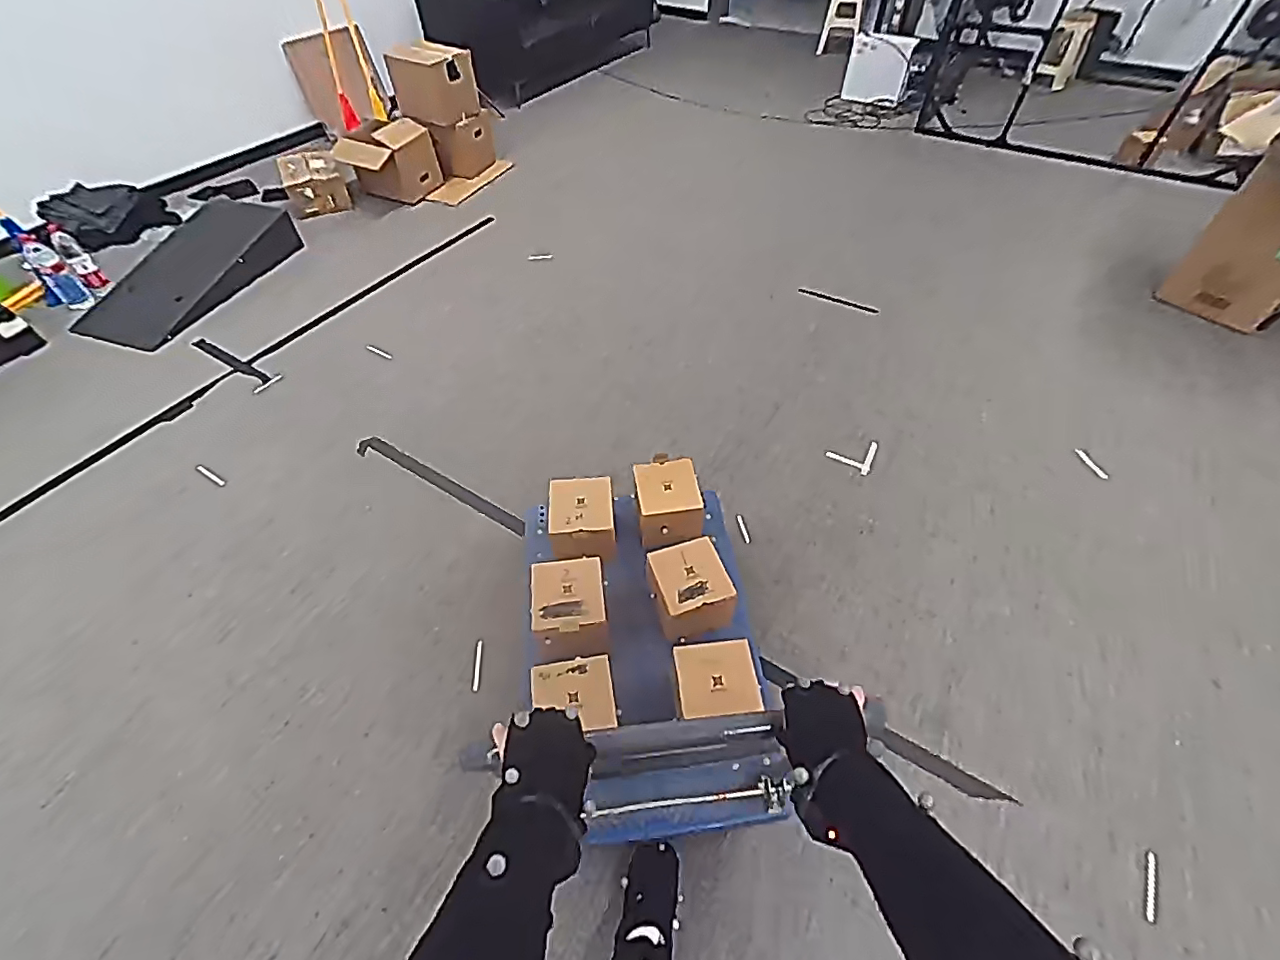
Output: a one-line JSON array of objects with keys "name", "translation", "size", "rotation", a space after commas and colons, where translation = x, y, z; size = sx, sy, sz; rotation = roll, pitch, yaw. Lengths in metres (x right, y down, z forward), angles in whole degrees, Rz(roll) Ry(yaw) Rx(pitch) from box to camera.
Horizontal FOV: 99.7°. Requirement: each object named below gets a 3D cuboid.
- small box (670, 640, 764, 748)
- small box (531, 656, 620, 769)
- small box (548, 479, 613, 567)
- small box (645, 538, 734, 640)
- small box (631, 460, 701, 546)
[{"name": "small box", "translation": [0.160, 0.473, 1.181], "size": [0.168, 0.176, 0.179], "rotation": [-4, 50, -4]}, {"name": "small box", "translation": [-0.136, 0.501, 1.153], "size": [0.168, 0.176, 0.179], "rotation": [-7, 51, -7]}, {"name": "small box", "translation": [-0.159, 0.118, 1.473], "size": [0.168, 0.176, 0.179], "rotation": [-3, 51, -3]}, {"name": "small box", "translation": [0.117, 0.277, 1.343], "size": [0.168, 0.176, 0.179], "rotation": [-14, 51, -12]}, {"name": "small box", "translation": [0.068, 0.072, 1.516], "size": [0.168, 0.176, 0.179], "rotation": [-7, 50, -6]}]
